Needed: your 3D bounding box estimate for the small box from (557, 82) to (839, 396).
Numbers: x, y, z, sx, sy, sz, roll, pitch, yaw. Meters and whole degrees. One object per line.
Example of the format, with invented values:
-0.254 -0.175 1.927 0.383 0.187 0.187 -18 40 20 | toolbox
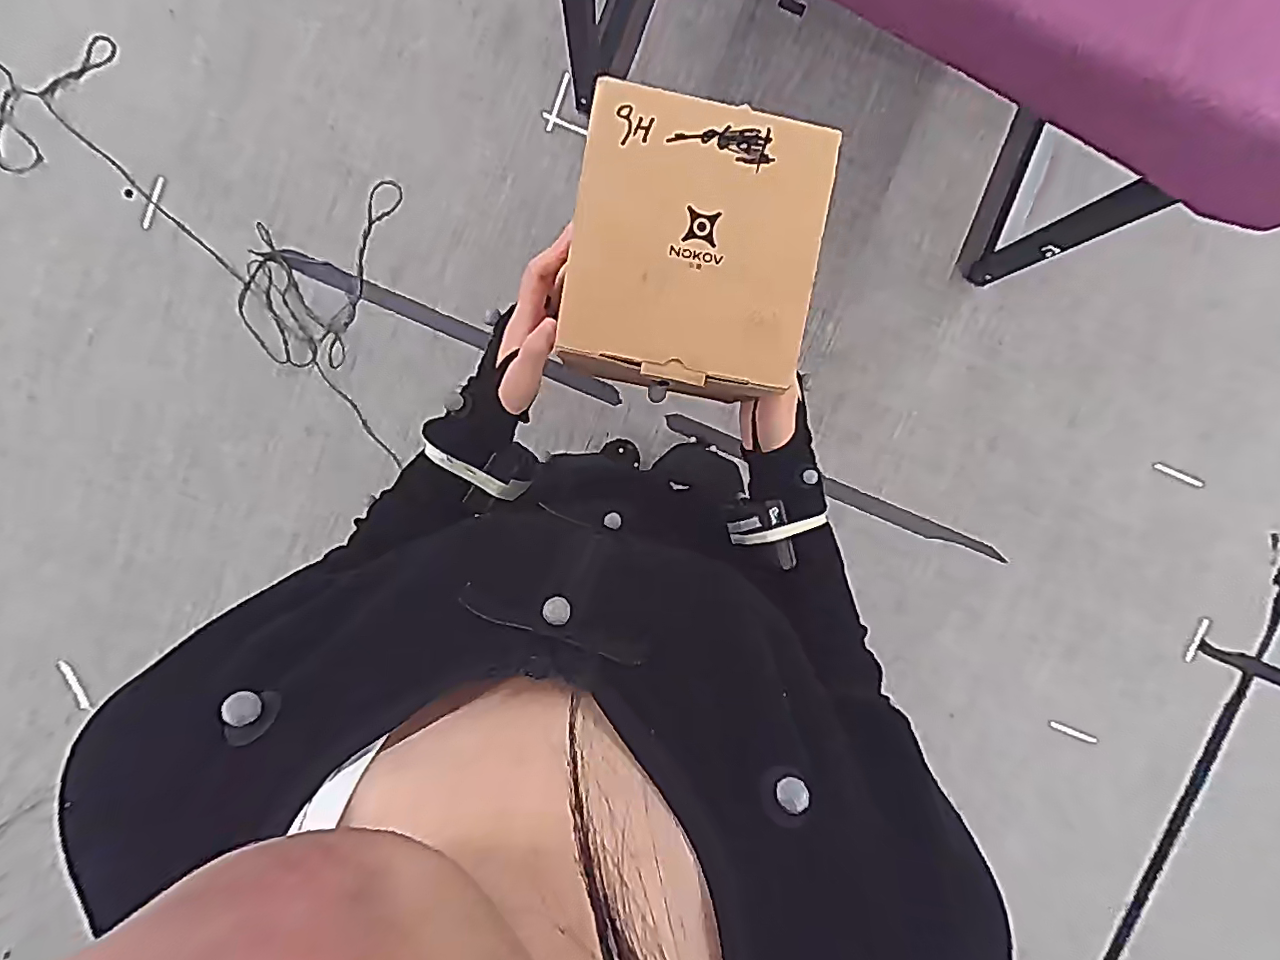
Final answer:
0.034 -0.169 0.443 0.168 0.176 0.179 10 96 -5 | small box
